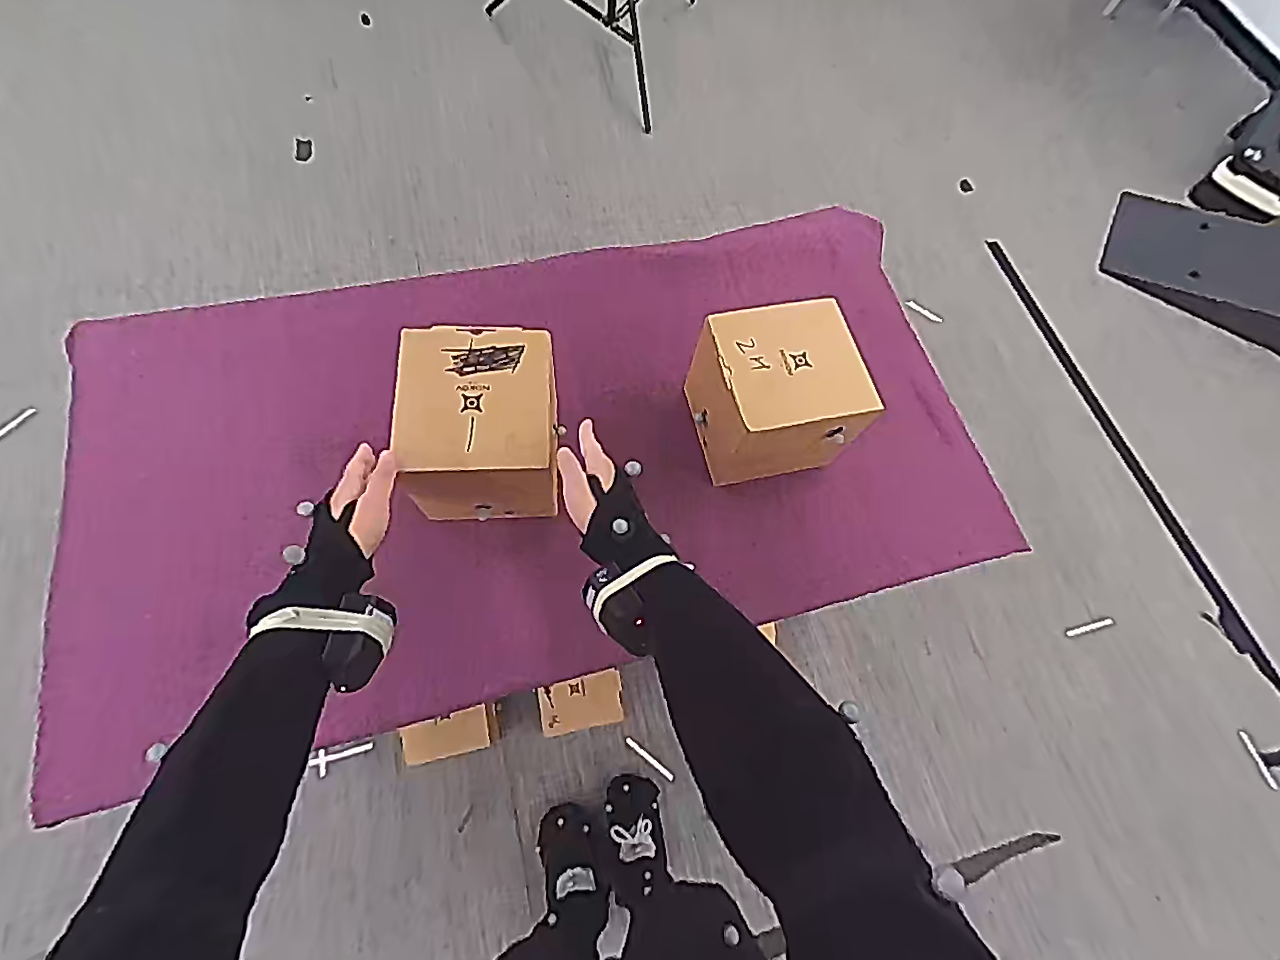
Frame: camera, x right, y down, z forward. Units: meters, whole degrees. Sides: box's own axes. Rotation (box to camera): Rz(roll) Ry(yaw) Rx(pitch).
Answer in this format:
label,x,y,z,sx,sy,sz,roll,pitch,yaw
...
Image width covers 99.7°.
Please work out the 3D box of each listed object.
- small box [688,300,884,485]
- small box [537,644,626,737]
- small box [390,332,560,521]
label,x,y,z,sx,sy,sz,roll,pitch,yaw
small box,0.177,-0.109,0.715,0.179,0.176,0.168,-11,69,-9
small box,-0.137,0.479,1.241,0.179,0.176,0.168,-8,70,-9
small box,-0.186,-0.058,0.660,0.168,0.176,0.179,-1,70,-6
